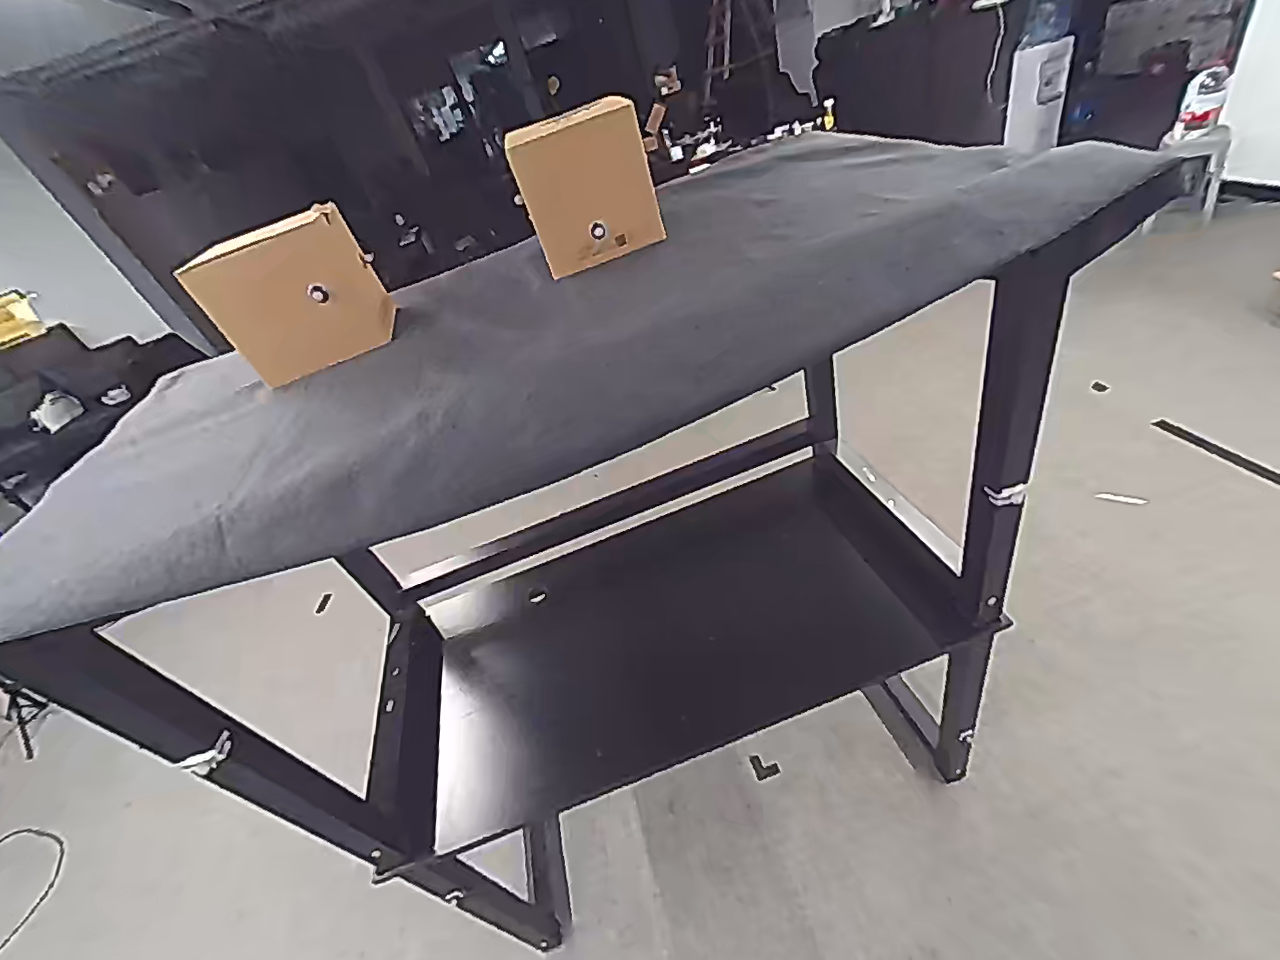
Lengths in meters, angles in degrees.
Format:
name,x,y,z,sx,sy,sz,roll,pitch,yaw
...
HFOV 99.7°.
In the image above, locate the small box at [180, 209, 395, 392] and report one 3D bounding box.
name,x,y,z,sx,sy,sz,roll,pitch,yaw
small box,-0.467,-0.251,0.756,0.179,0.176,0.168,-23,38,-5
